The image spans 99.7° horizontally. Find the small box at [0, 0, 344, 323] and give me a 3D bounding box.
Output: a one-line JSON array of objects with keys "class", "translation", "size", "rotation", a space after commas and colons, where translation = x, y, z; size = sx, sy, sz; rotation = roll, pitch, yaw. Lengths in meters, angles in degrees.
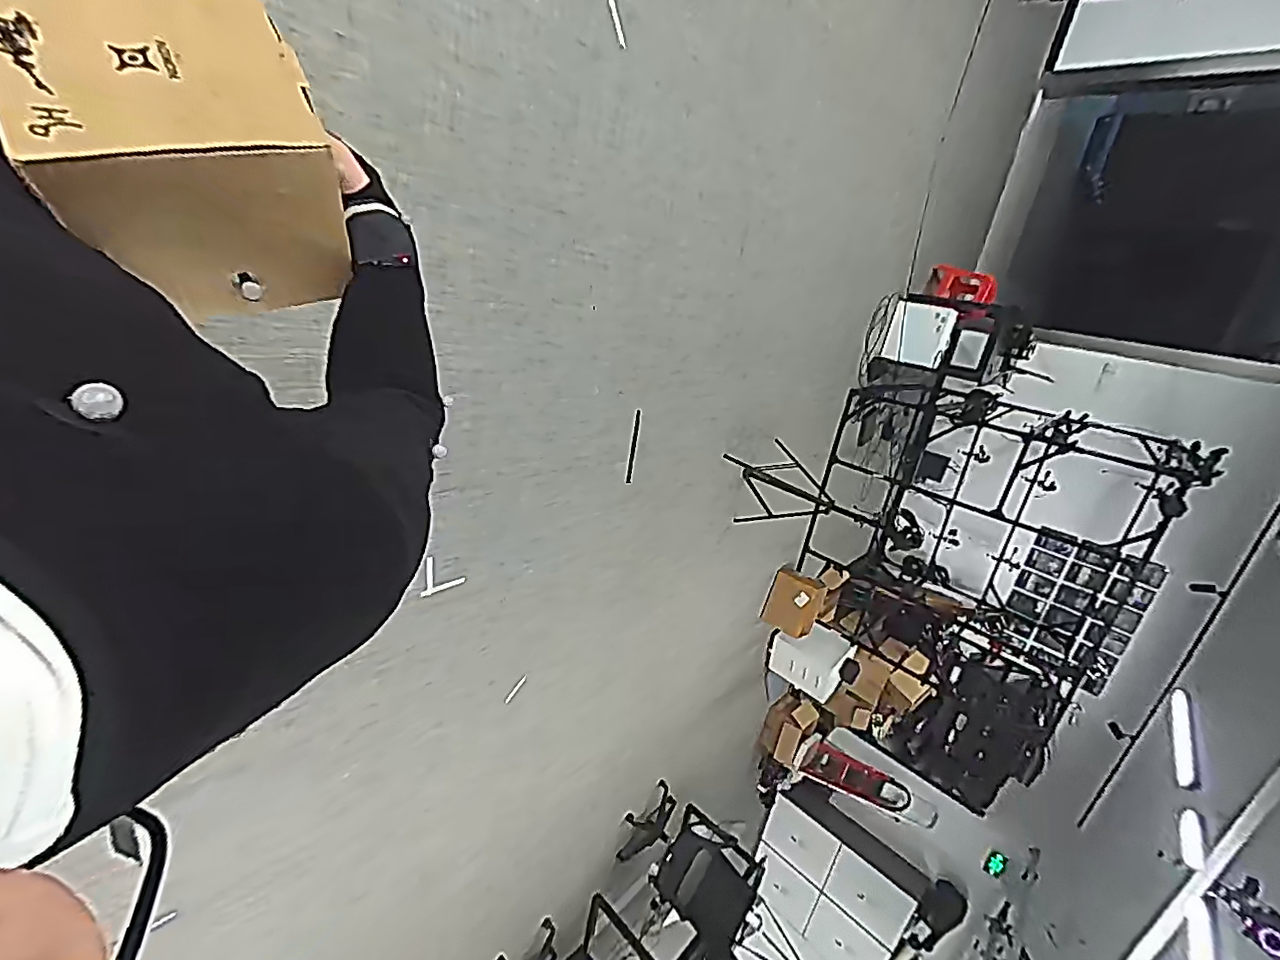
[{"class": "small box", "translation": [-0.370, -0.260, 0.457], "size": [0.179, 0.168, 0.176], "rotation": [-23, 168, -28]}]
